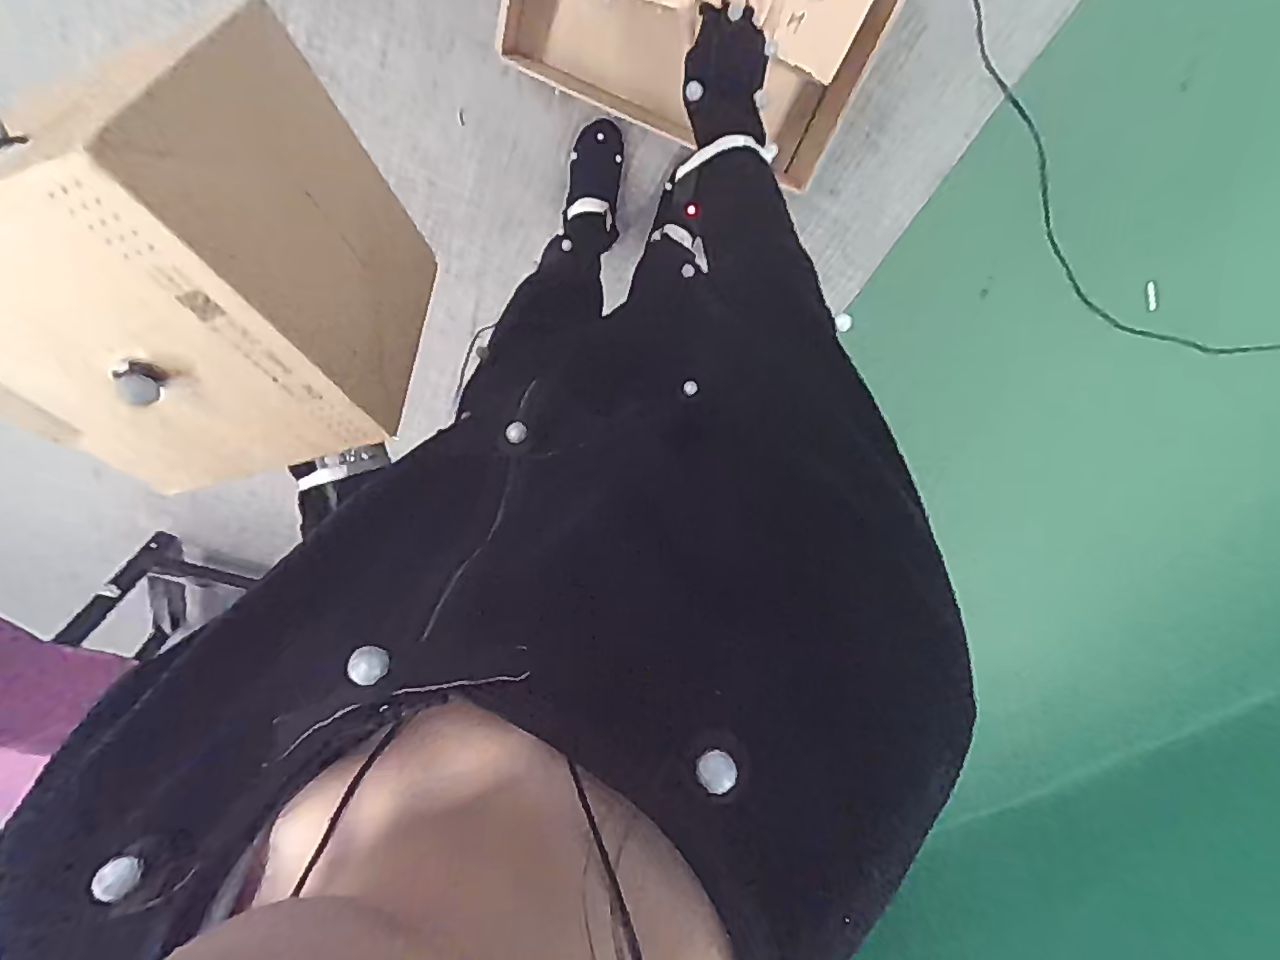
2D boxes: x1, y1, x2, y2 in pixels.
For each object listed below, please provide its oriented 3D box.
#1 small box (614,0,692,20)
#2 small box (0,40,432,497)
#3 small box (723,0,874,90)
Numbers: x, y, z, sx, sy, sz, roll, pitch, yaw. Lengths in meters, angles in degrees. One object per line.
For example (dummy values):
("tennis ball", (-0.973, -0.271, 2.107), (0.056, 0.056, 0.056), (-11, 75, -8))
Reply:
("small box", (-0.015, -0.657, 0.617), (0.179, 0.176, 0.168), (9, 130, -9))
("small box", (-0.249, -0.117, 0.321), (0.176, 0.179, 0.168), (-12, 145, 10))
("small box", (0.234, -0.710, 0.785), (0.168, 0.176, 0.179), (18, 128, -15))
